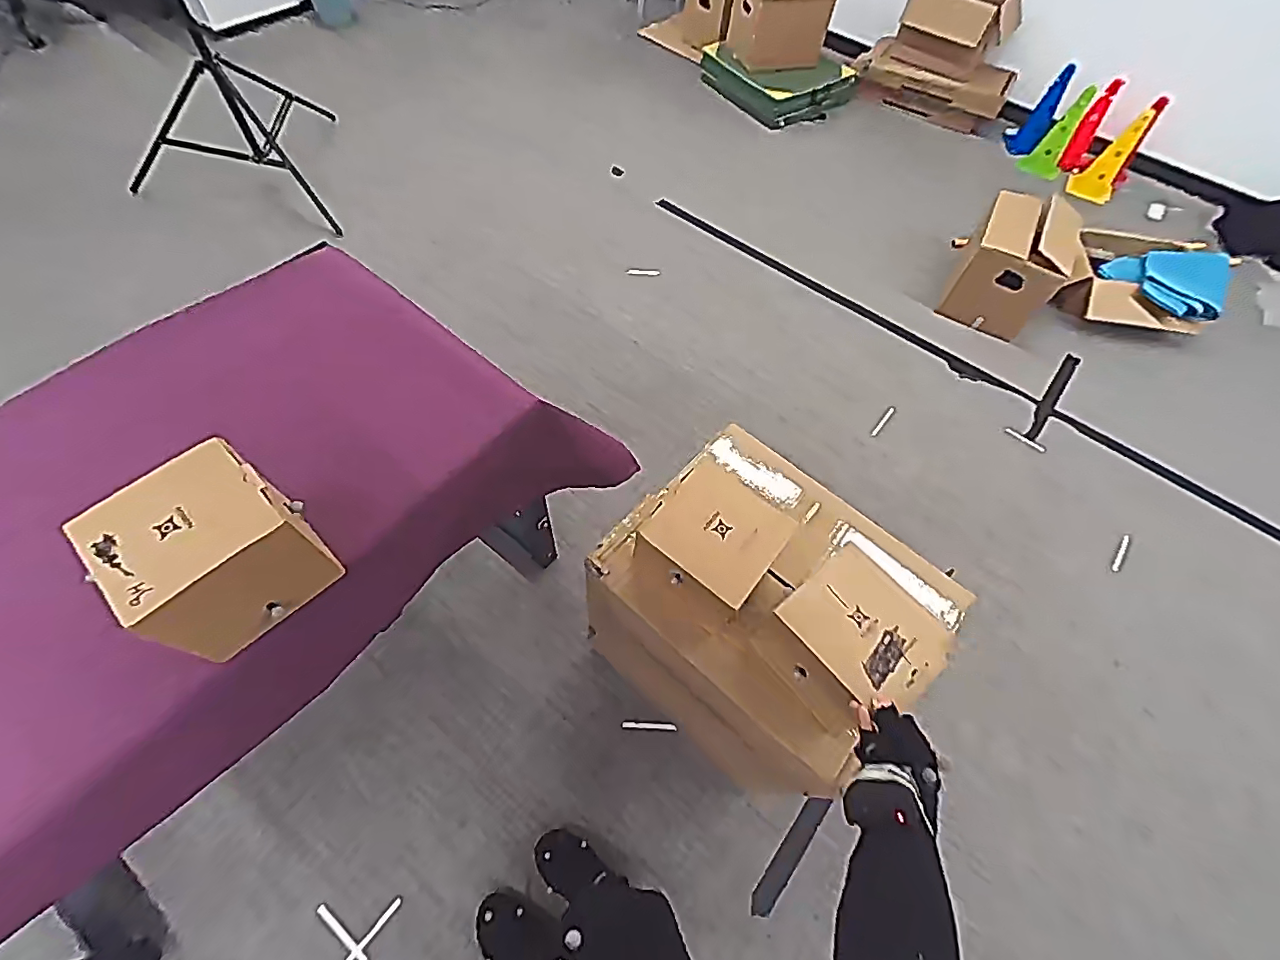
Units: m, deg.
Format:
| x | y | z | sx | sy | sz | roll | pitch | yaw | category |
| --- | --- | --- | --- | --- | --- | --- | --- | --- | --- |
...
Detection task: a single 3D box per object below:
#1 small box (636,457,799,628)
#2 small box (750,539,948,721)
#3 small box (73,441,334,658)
| x | y | z | sx | sy | sz | roll | pitch | yaw | category |
| --- | --- | --- | --- | --- | --- | --- | --- | --- | --- |
| 0.107 | 0.104 | 0.836 | 0.179 | 0.176 | 0.168 | 38 | 66 | 15 | small box |
| 0.287 | 0.223 | 0.779 | 0.168 | 0.176 | 0.179 | -36 | 65 | -21 | small box |
| -0.520 | 0.091 | 0.679 | 0.168 | 0.176 | 0.179 | 41 | 64 | 19 | small box |
